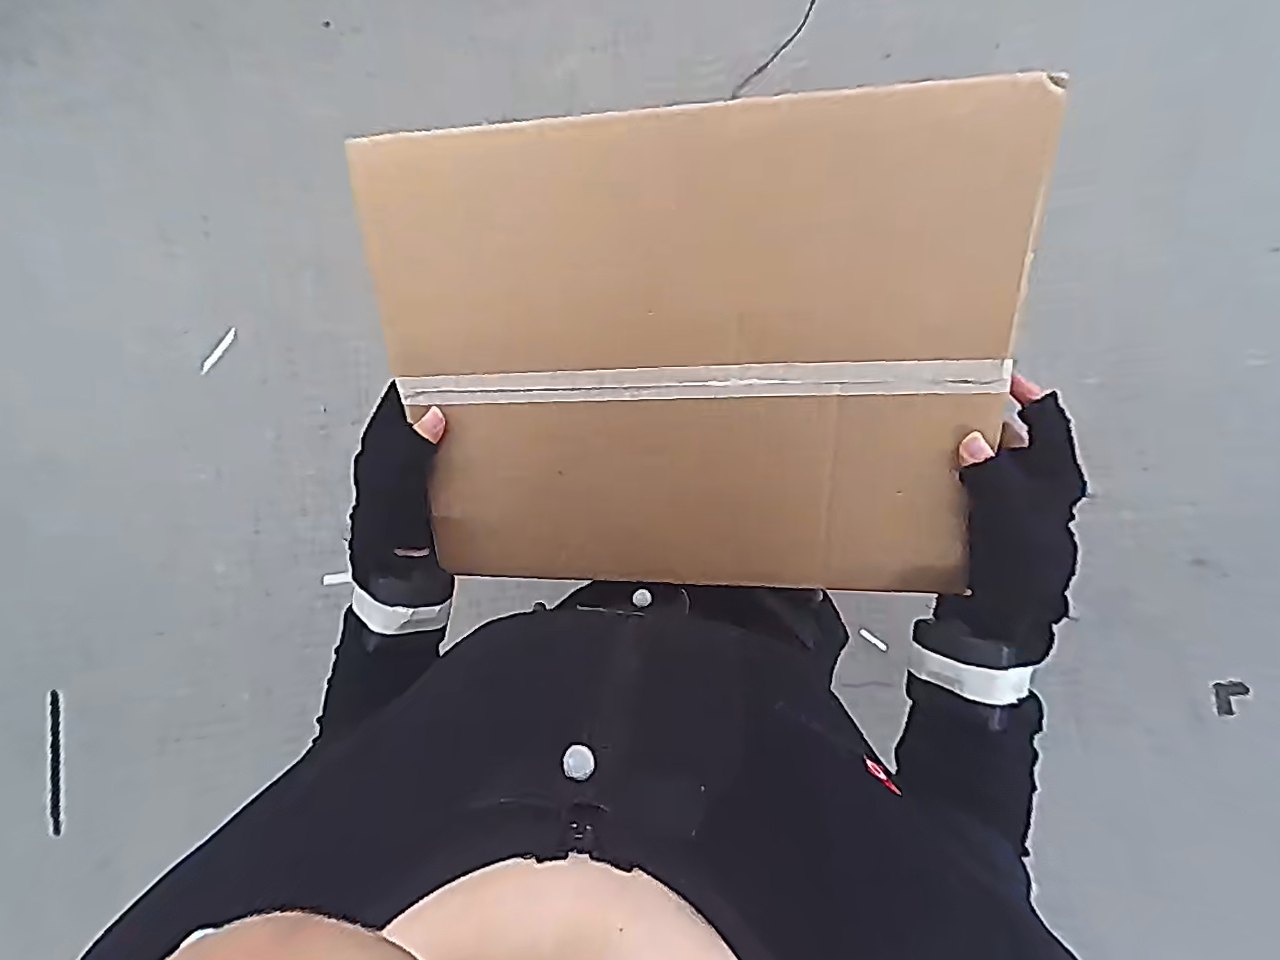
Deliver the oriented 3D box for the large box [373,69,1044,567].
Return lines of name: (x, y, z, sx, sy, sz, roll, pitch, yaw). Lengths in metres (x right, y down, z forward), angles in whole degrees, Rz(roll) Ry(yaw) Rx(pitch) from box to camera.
large box: (0.049, -0.131, 0.509, 0.408, 0.320, 0.320, 1, 113, 9)
